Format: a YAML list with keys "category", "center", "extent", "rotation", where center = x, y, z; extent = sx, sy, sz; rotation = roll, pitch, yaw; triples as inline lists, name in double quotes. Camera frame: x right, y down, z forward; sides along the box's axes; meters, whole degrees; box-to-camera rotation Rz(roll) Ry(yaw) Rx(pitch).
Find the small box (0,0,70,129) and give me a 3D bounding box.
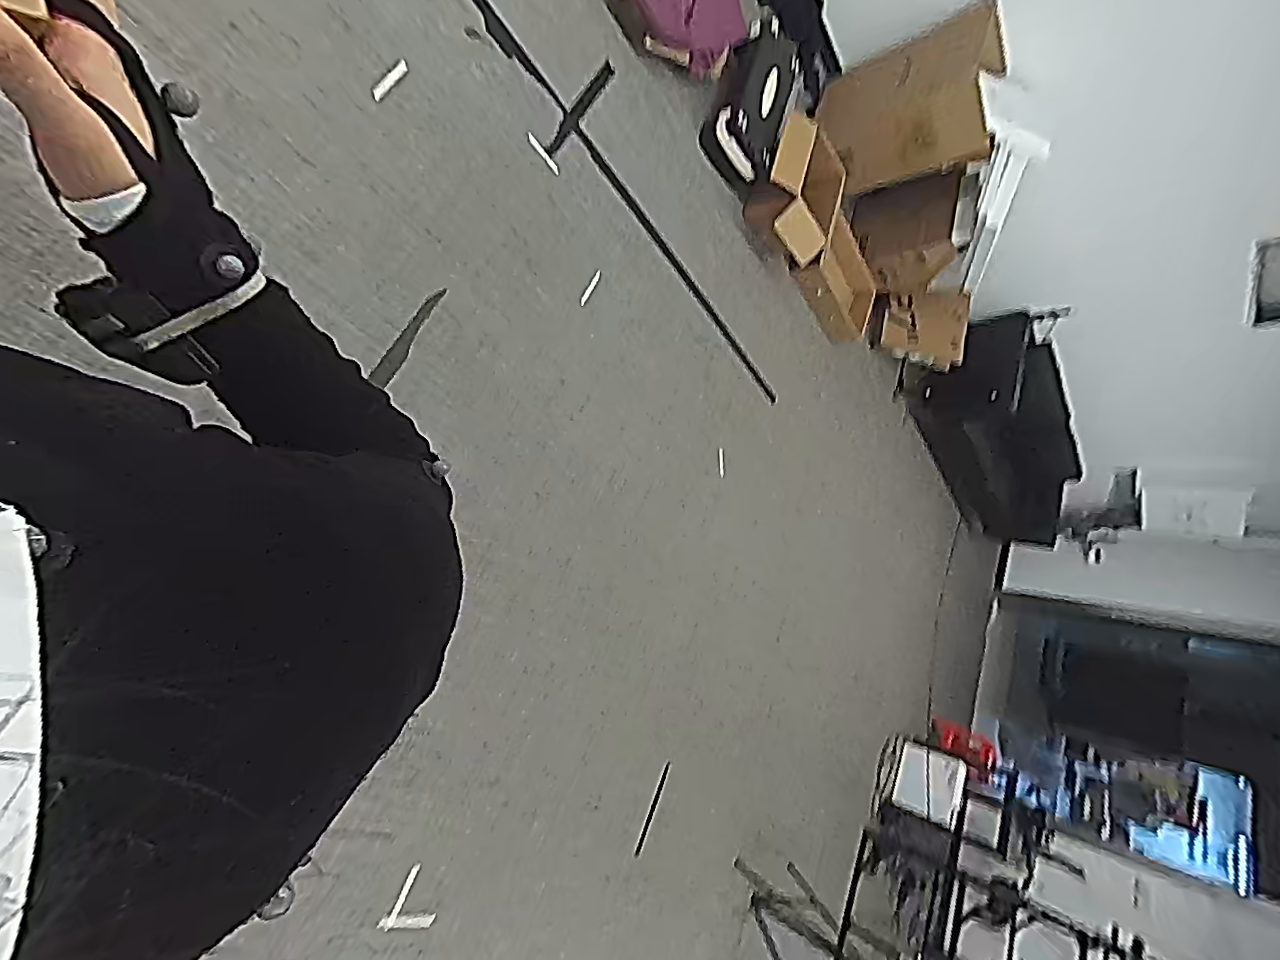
- category: "small box"
  center: [-0.354, -0.237, 0.177]
  extent: [0.168, 0.176, 0.179]
  rotation: [-28, 117, -55]
